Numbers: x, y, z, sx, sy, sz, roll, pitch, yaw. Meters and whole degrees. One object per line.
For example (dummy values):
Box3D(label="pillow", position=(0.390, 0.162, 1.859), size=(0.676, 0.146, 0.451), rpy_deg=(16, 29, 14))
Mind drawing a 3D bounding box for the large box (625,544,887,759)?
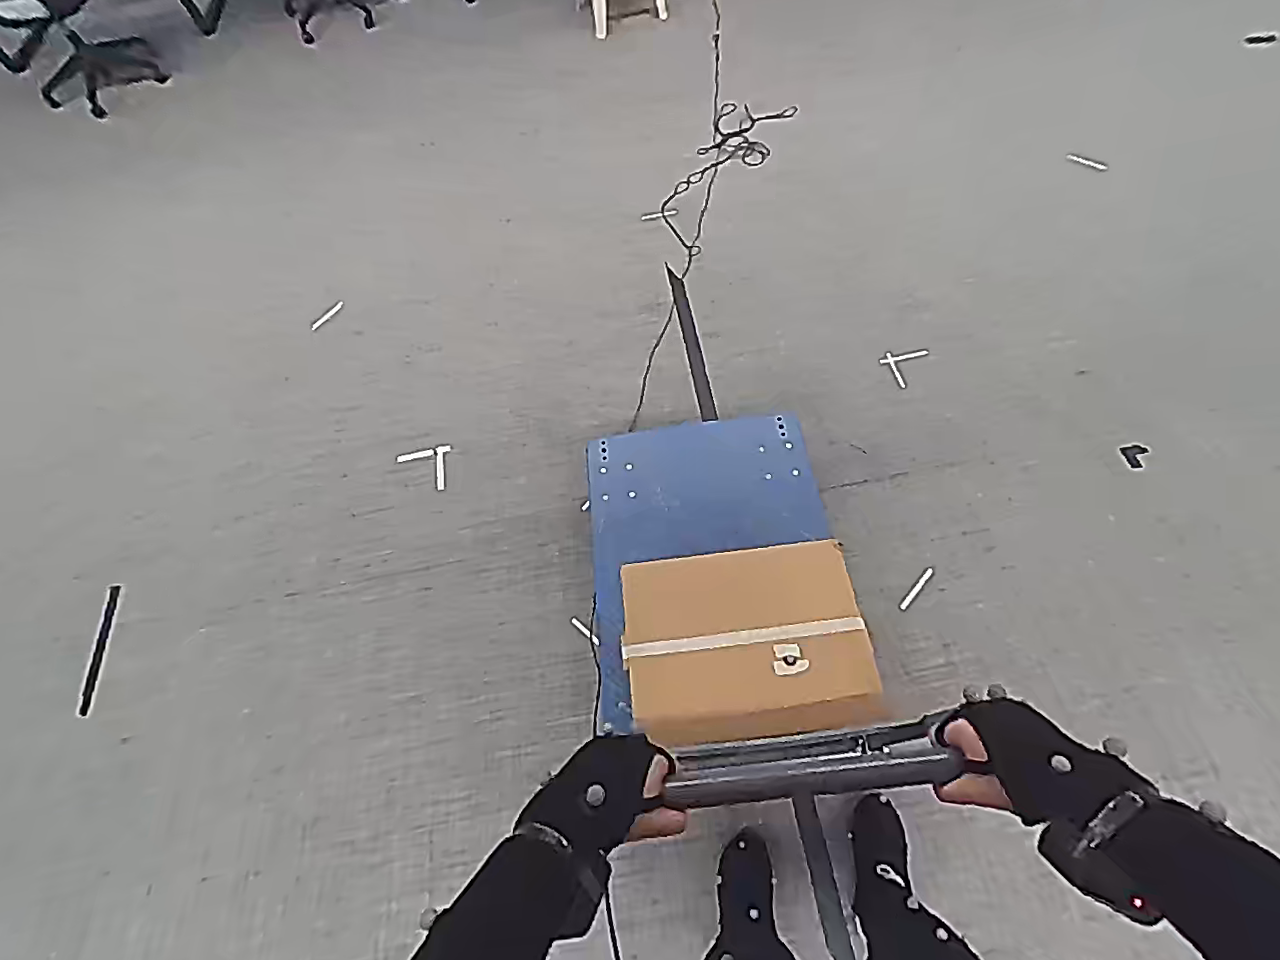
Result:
Box3D(label="large box", position=(0.195, 0.351, 1.066), size=(0.408, 0.320, 0.320), rpy_deg=(-8, 62, 1))
